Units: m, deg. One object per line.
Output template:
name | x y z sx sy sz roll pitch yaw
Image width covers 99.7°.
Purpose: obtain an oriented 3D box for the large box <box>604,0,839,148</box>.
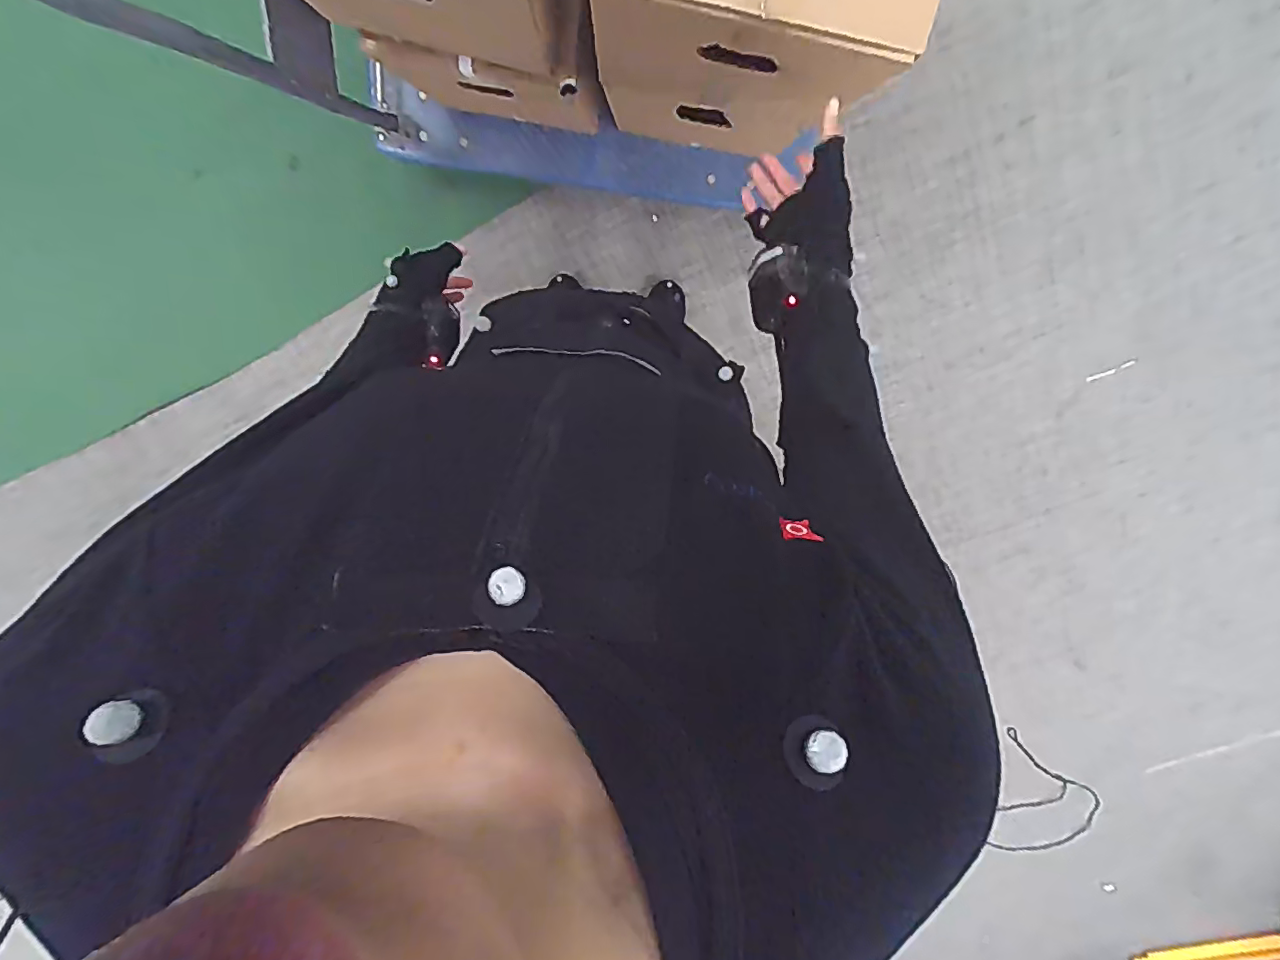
large box | 0.133 -0.787 0.835 0.320 0.320 0.408 10 115 0
